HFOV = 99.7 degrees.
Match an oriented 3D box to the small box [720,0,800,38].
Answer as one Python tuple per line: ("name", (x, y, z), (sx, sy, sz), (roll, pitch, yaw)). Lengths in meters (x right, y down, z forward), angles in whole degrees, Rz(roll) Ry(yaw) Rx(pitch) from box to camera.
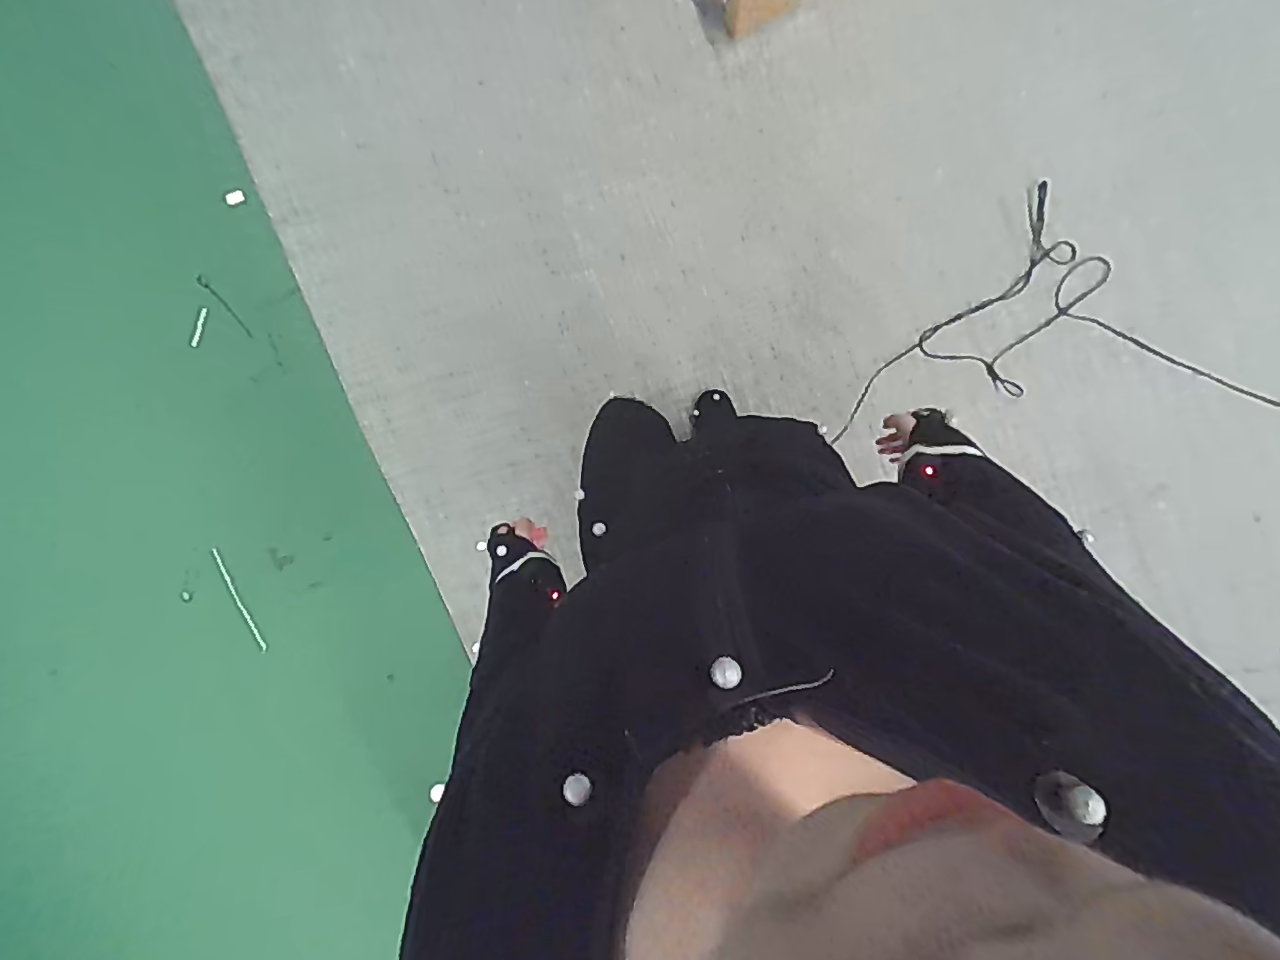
("small box", (0.254, -1.114, 1.163), (0.179, 0.176, 0.168), (-22, 99, 10))
